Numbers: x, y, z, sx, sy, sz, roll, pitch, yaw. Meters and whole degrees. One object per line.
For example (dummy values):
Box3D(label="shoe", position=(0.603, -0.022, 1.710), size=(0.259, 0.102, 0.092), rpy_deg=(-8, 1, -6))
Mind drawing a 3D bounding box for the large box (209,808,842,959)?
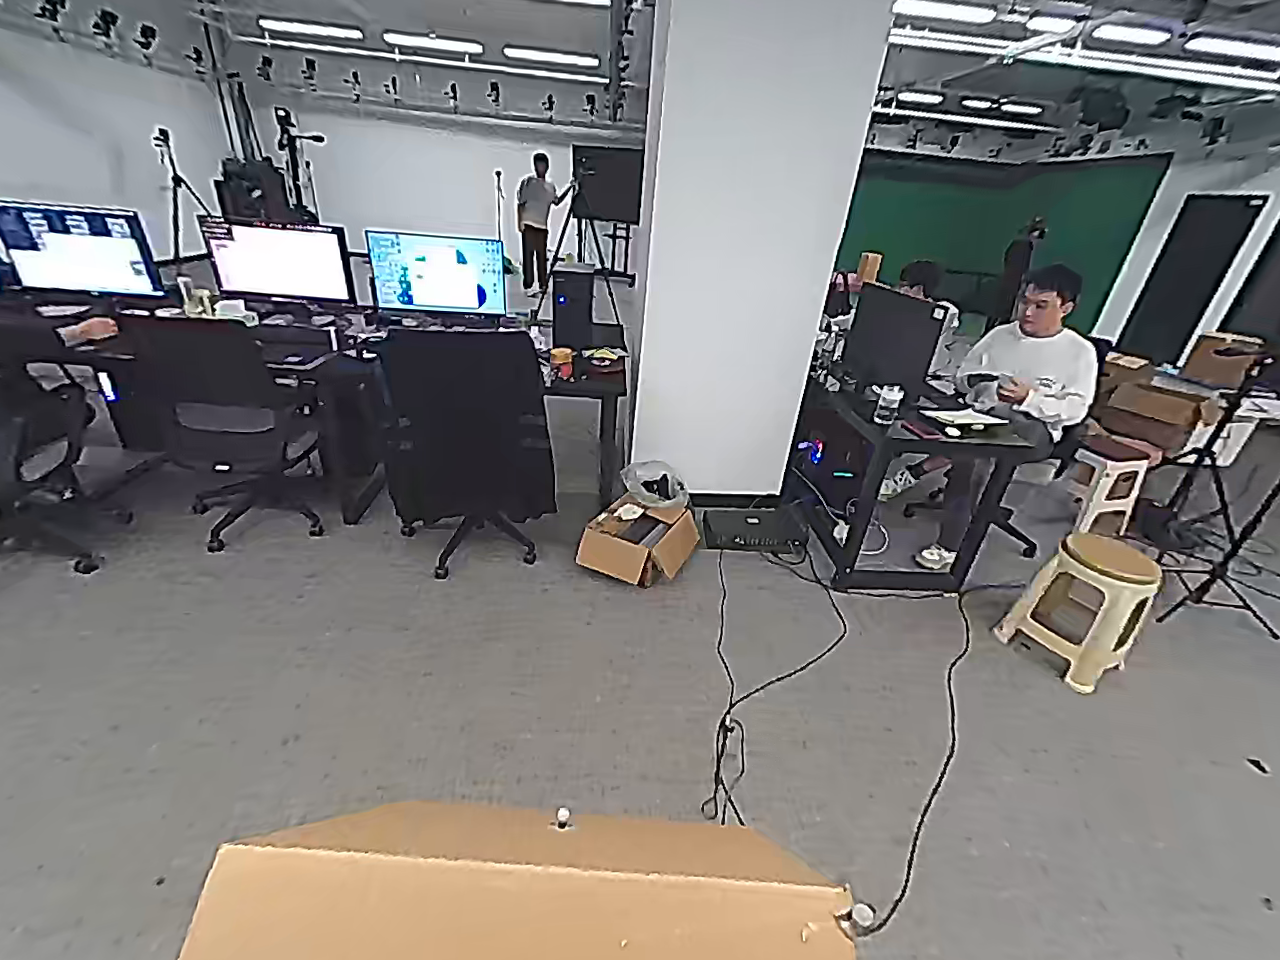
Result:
Box3D(label="large box", position=(-0.079, 0.456, 0.427), size=(0.408, 0.320, 0.320), rpy_deg=(3, 65, 0))
